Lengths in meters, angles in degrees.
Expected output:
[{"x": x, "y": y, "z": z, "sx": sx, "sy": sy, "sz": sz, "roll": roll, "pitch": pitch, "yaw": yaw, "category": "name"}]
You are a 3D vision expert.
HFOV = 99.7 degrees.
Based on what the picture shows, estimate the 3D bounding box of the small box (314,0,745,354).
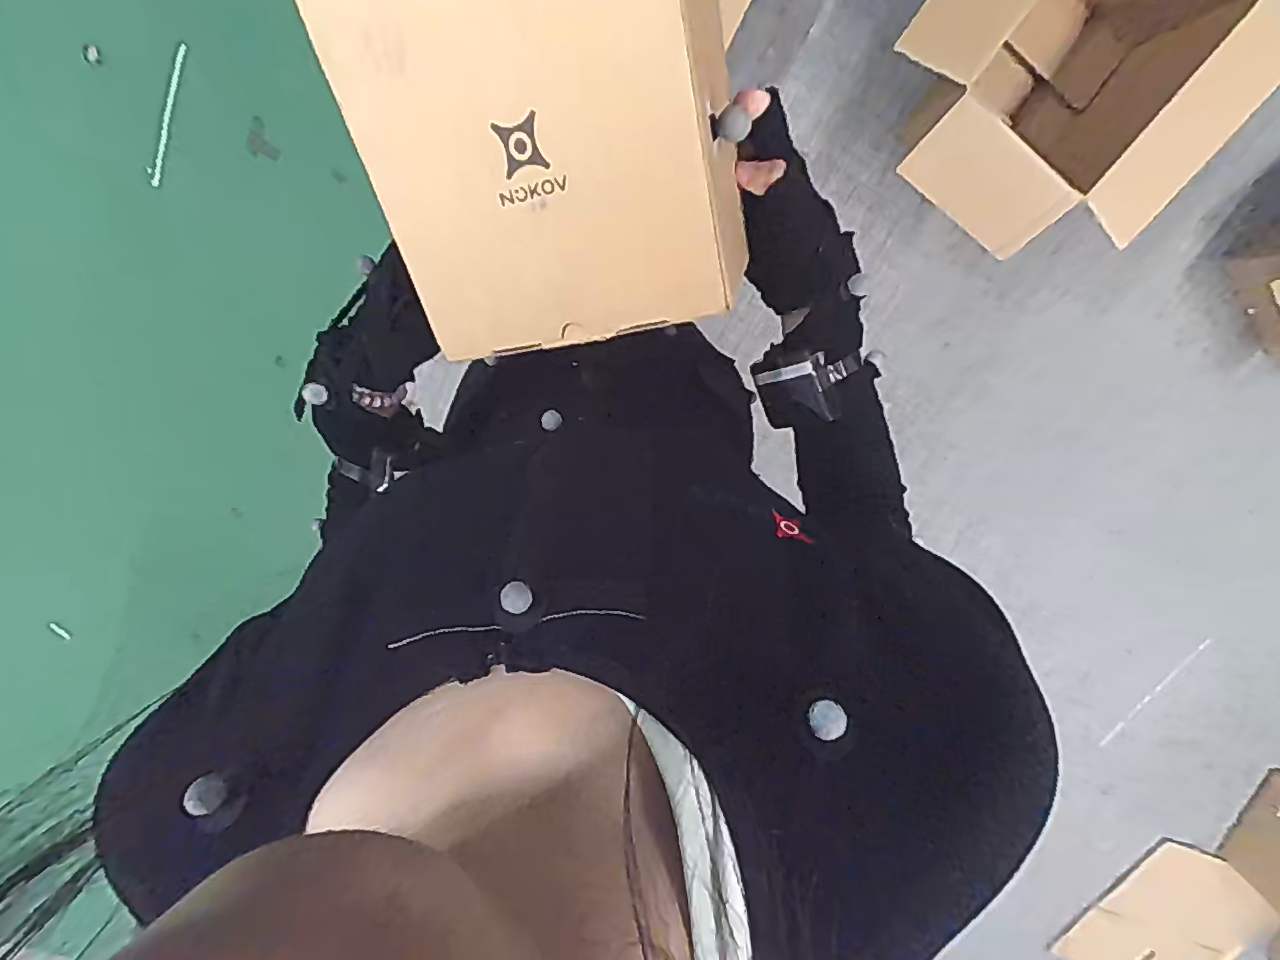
[{"x": -0.033, "y": -0.196, "z": 0.321, "sx": 0.168, "sy": 0.176, "sz": 0.179, "roll": -5, "pitch": 122, "yaw": 18, "category": "small box"}]
